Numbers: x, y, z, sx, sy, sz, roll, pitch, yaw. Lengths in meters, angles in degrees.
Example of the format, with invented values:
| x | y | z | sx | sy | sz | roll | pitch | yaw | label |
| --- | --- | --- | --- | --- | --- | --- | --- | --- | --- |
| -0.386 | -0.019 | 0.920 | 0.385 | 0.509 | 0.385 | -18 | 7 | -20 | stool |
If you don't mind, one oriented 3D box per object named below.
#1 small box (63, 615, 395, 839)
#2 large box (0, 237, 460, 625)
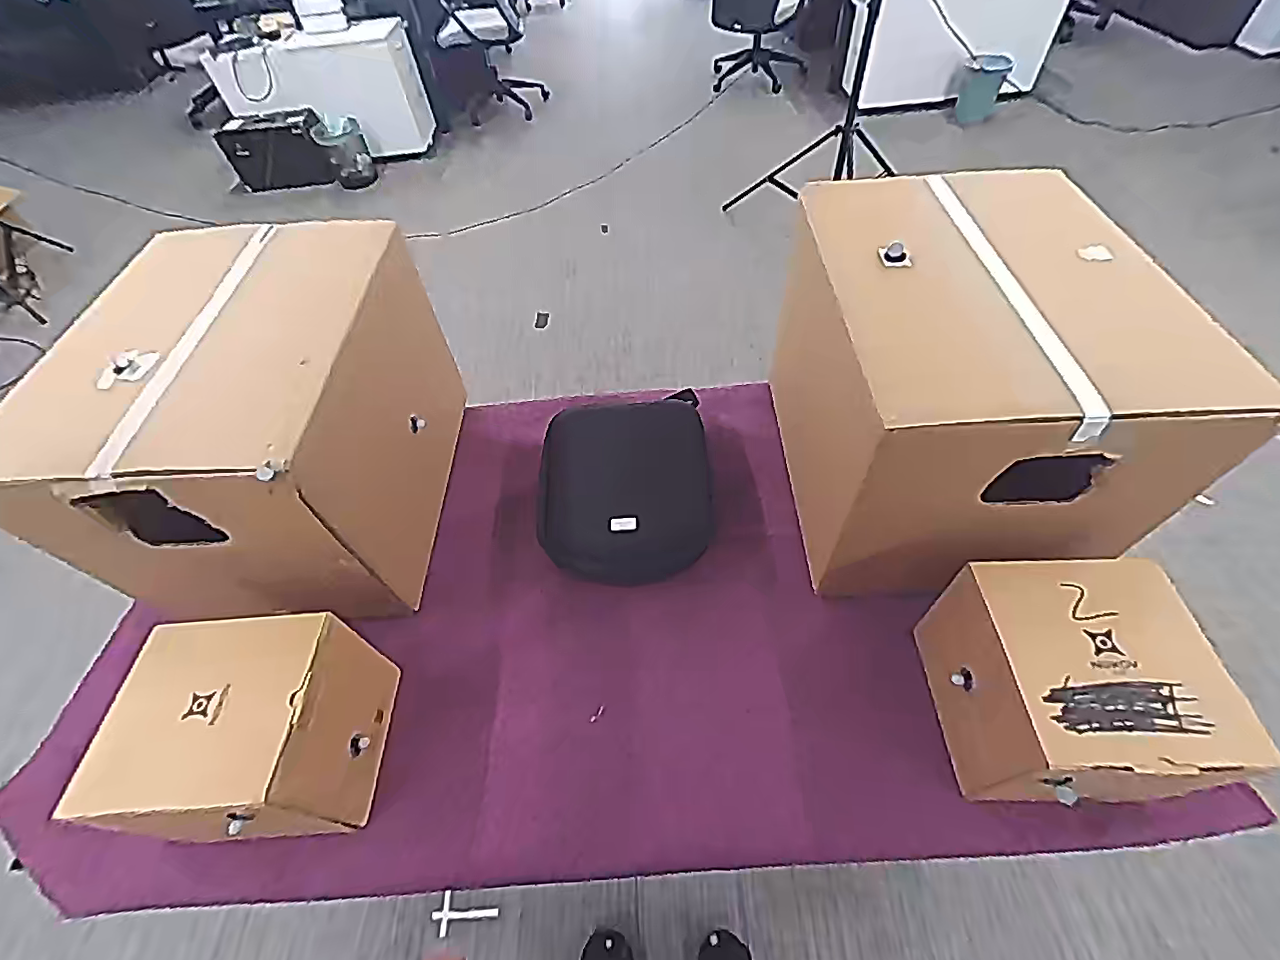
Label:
| x | y | z | sx | sy | sz | roll | pitch | yaw | label |
| --- | --- | --- | --- | --- | --- | --- | --- | --- | --- |
| -0.383 | 0.254 | 0.549 | 0.179 | 0.176 | 0.168 | -5 | 51 | 1 | small box |
| -0.452 | -0.059 | 0.704 | 0.320 | 0.320 | 0.408 | -4 | 55 | 1 | large box |
